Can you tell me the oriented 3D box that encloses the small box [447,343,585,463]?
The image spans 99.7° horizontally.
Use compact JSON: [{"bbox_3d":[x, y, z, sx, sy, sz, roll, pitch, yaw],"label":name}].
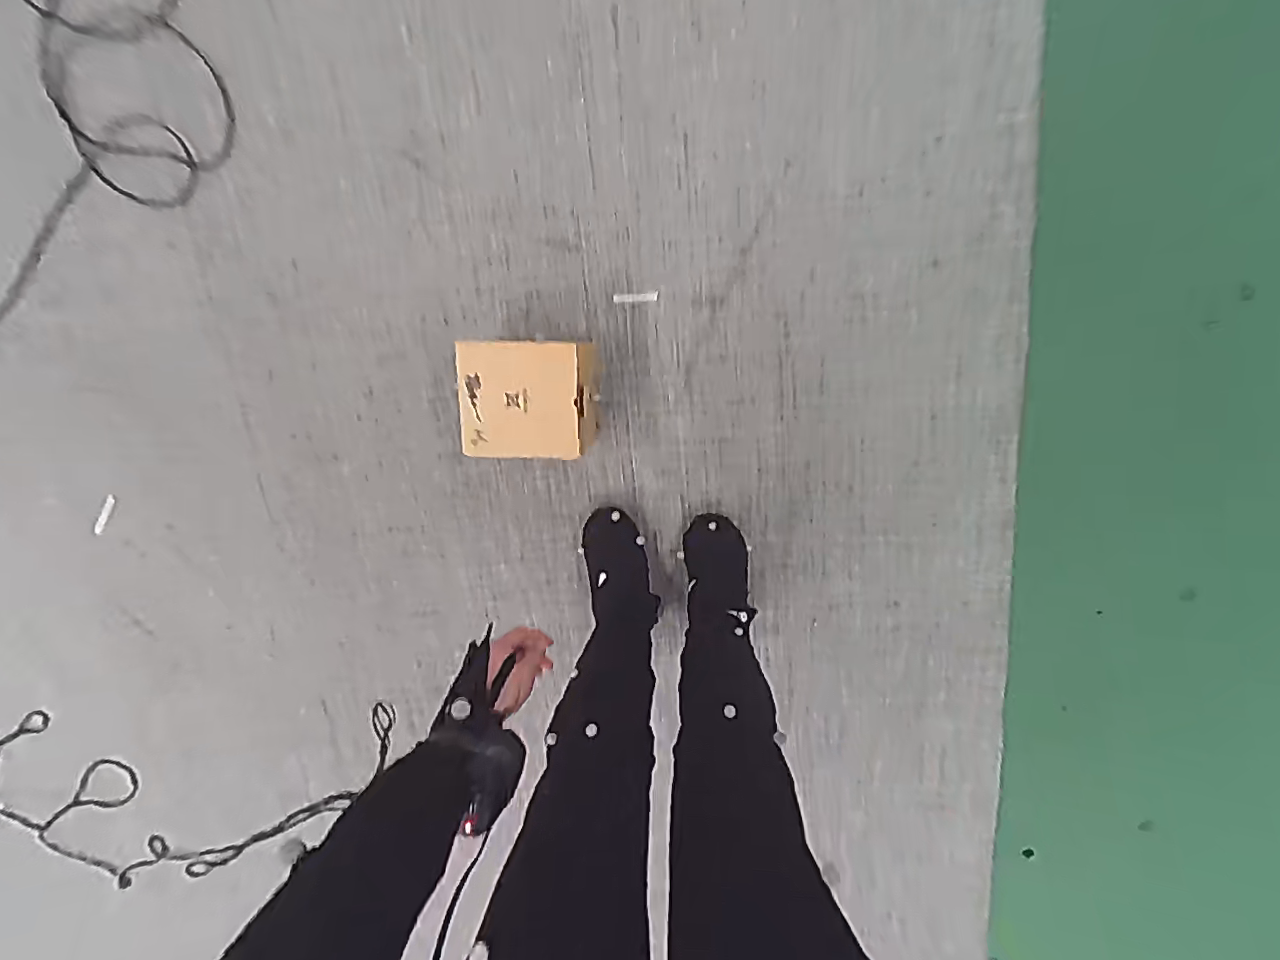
[{"bbox_3d":[-0.180,-0.126,0.843,0.179,0.176,0.168,1,105,2],"label":"small box"}]
